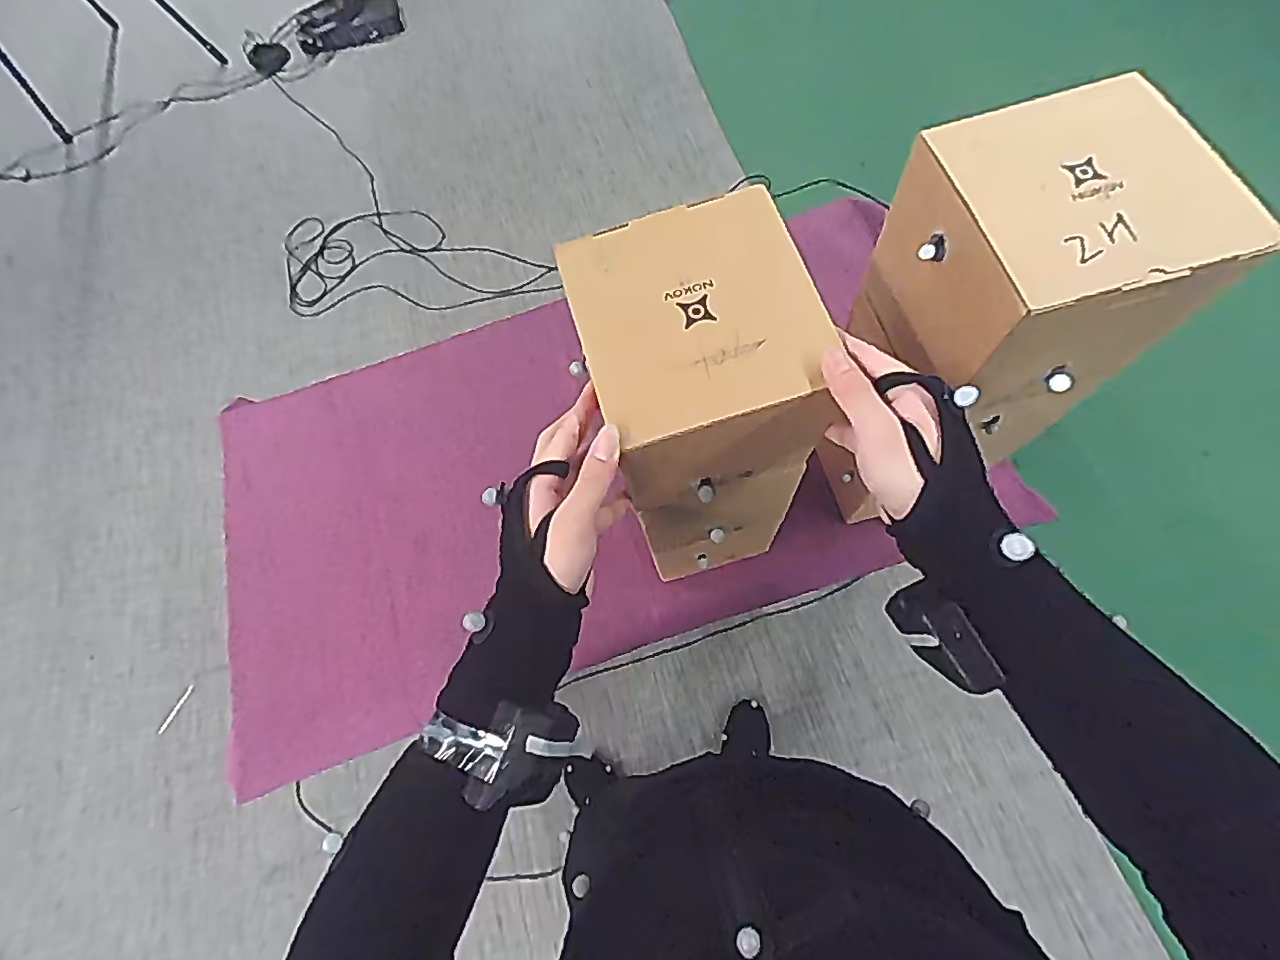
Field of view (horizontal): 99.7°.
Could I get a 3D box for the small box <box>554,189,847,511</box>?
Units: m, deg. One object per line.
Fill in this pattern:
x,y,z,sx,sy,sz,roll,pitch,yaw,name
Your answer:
0.040,-0.093,0.449,0.168,0.176,0.179,-16,72,0,small box

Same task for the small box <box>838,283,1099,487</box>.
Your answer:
0.332,-0.115,0.600,0.168,0.176,0.179,-15,68,2,small box

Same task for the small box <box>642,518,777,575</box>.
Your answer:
0.079,0.025,0.758,0.168,0.176,0.179,-17,67,1,small box

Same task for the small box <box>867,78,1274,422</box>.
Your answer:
0.312,-0.174,0.447,0.168,0.176,0.179,-14,69,2,small box

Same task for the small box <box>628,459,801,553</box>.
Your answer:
0.060,-0.036,0.607,0.168,0.176,0.179,-16,68,1,small box
